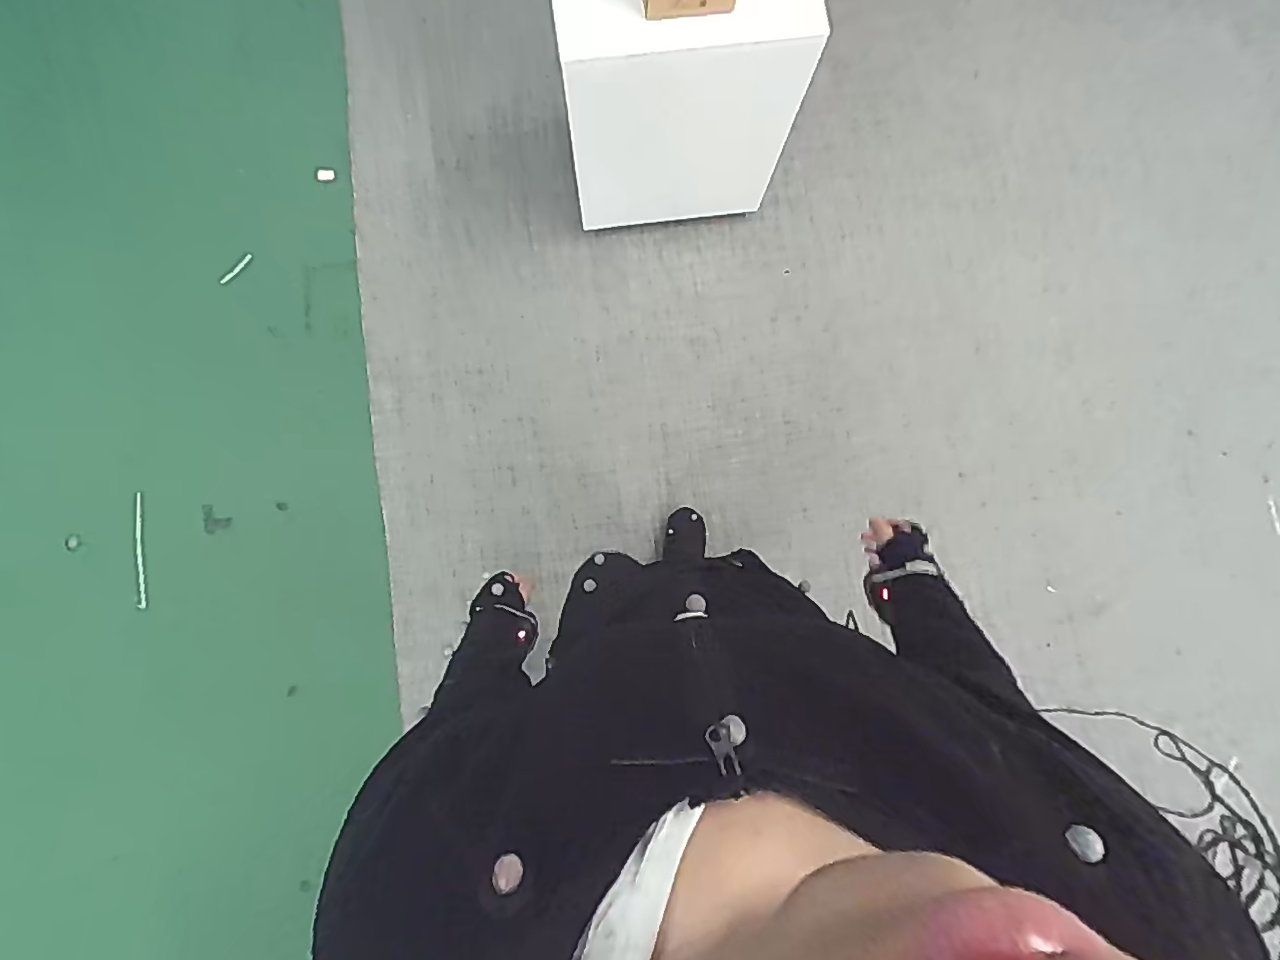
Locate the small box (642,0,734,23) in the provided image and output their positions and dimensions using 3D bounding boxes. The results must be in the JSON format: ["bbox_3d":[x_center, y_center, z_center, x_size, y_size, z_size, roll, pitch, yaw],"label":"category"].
[{"bbox_3d":[0.081,-0.941,0.925,0.168,0.176,0.179,-8,83,-2],"label":"small box"}]
